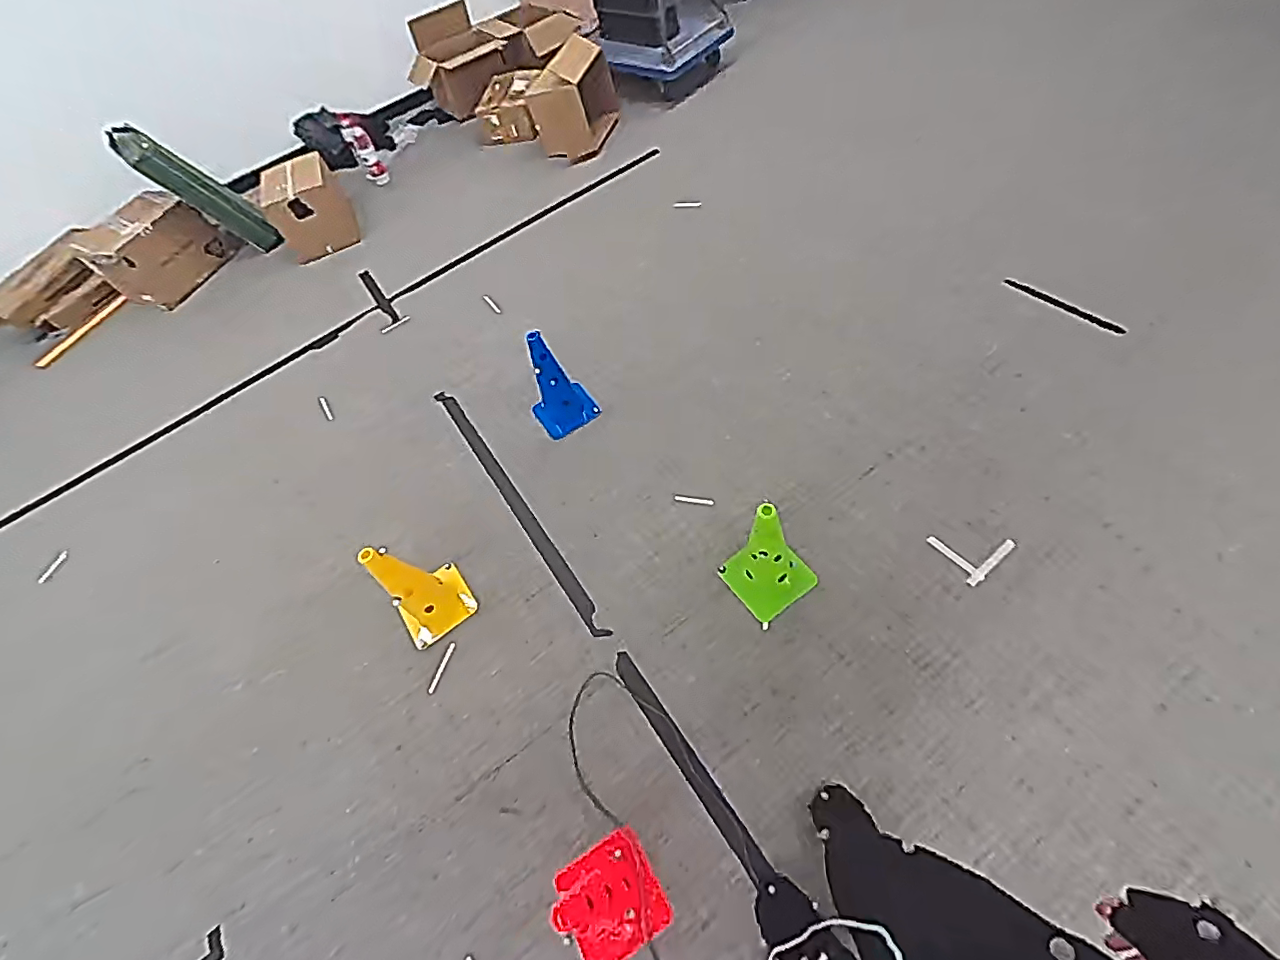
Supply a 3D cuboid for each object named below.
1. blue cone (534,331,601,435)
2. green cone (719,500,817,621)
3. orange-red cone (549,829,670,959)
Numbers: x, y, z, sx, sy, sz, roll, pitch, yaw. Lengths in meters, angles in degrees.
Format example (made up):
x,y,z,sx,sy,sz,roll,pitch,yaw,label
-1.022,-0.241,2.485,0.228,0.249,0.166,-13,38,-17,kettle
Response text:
x,y,z,sx,sy,sz,roll,pitch,yaw,label
-0.286,-0.340,1.806,0.192,0.380,0.193,-31,56,-10,blue cone
0.314,0.162,1.324,0.202,0.368,0.200,-34,57,-12,green cone
-0.094,0.790,1.004,0.199,0.360,0.198,-32,55,-8,orange-red cone
